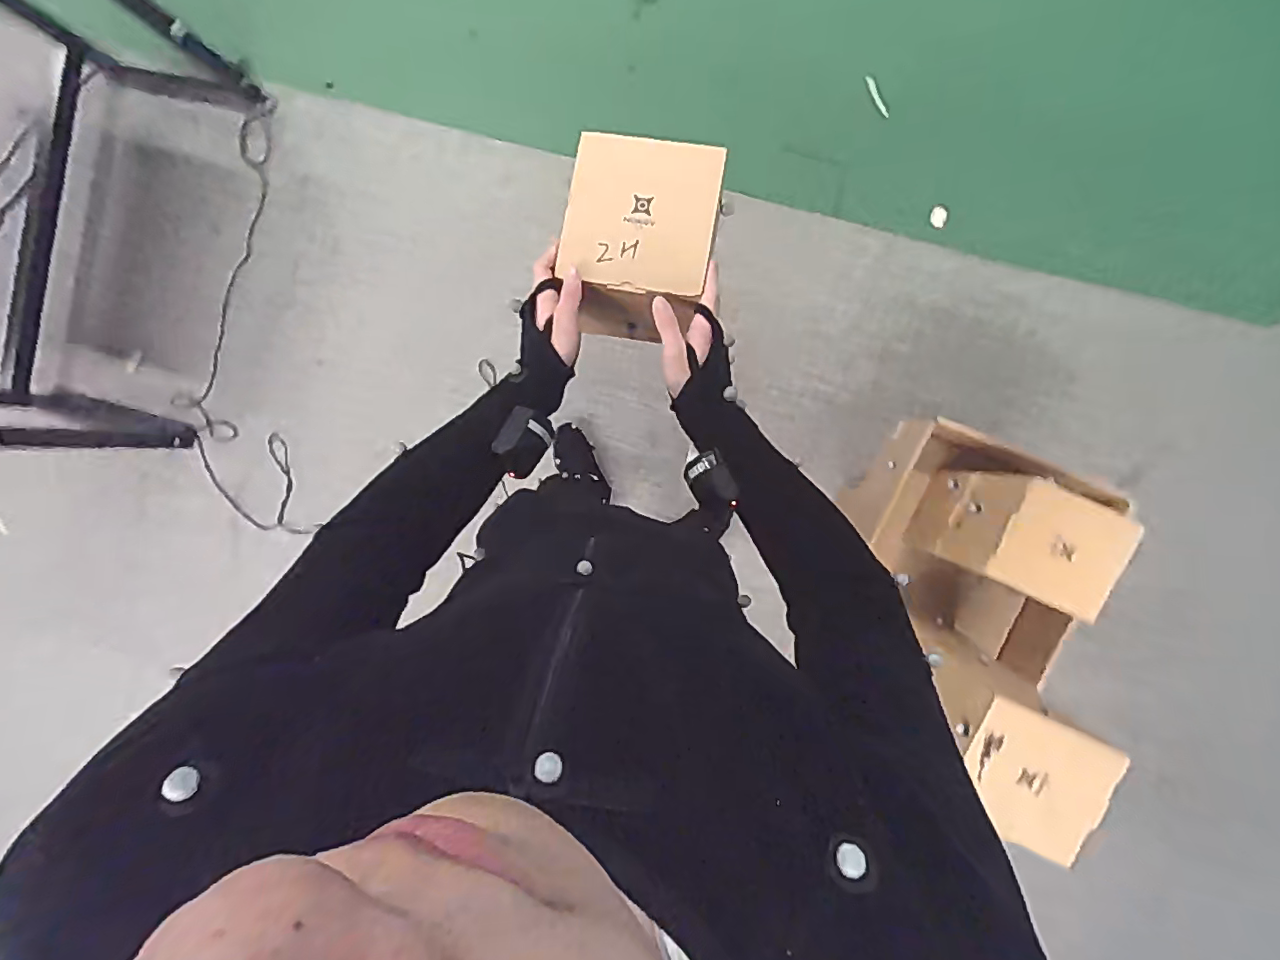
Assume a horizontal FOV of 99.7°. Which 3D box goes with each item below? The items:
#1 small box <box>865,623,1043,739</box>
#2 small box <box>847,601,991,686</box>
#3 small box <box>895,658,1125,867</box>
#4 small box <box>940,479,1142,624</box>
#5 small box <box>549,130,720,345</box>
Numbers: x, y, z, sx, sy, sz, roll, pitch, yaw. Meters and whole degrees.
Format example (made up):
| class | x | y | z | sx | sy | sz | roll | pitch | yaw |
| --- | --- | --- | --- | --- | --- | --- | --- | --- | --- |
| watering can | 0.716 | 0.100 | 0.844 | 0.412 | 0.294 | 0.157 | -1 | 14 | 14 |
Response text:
| class | x | y | z | sx | sy | sz | roll | pitch | yaw |
| --- | --- | --- | --- | --- | --- | --- | --- | --- | --- |
| small box | 0.522 | 0.370 | 0.928 | 0.179 | 0.176 | 0.168 | 25 | 95 | 5 |
| small box | 0.545 | 0.362 | 1.089 | 0.179 | 0.176 | 0.168 | 26 | 96 | 4 |
| small box | 0.503 | 0.380 | 0.765 | 0.179 | 0.176 | 0.168 | 25 | 95 | 4 |
| small box | 0.648 | 0.105 | 0.899 | 0.179 | 0.176 | 0.168 | 26 | 96 | 5 |
| small box | -0.001 | -0.287 | 0.670 | 0.168 | 0.176 | 0.179 | 9 | 87 | 5 |
